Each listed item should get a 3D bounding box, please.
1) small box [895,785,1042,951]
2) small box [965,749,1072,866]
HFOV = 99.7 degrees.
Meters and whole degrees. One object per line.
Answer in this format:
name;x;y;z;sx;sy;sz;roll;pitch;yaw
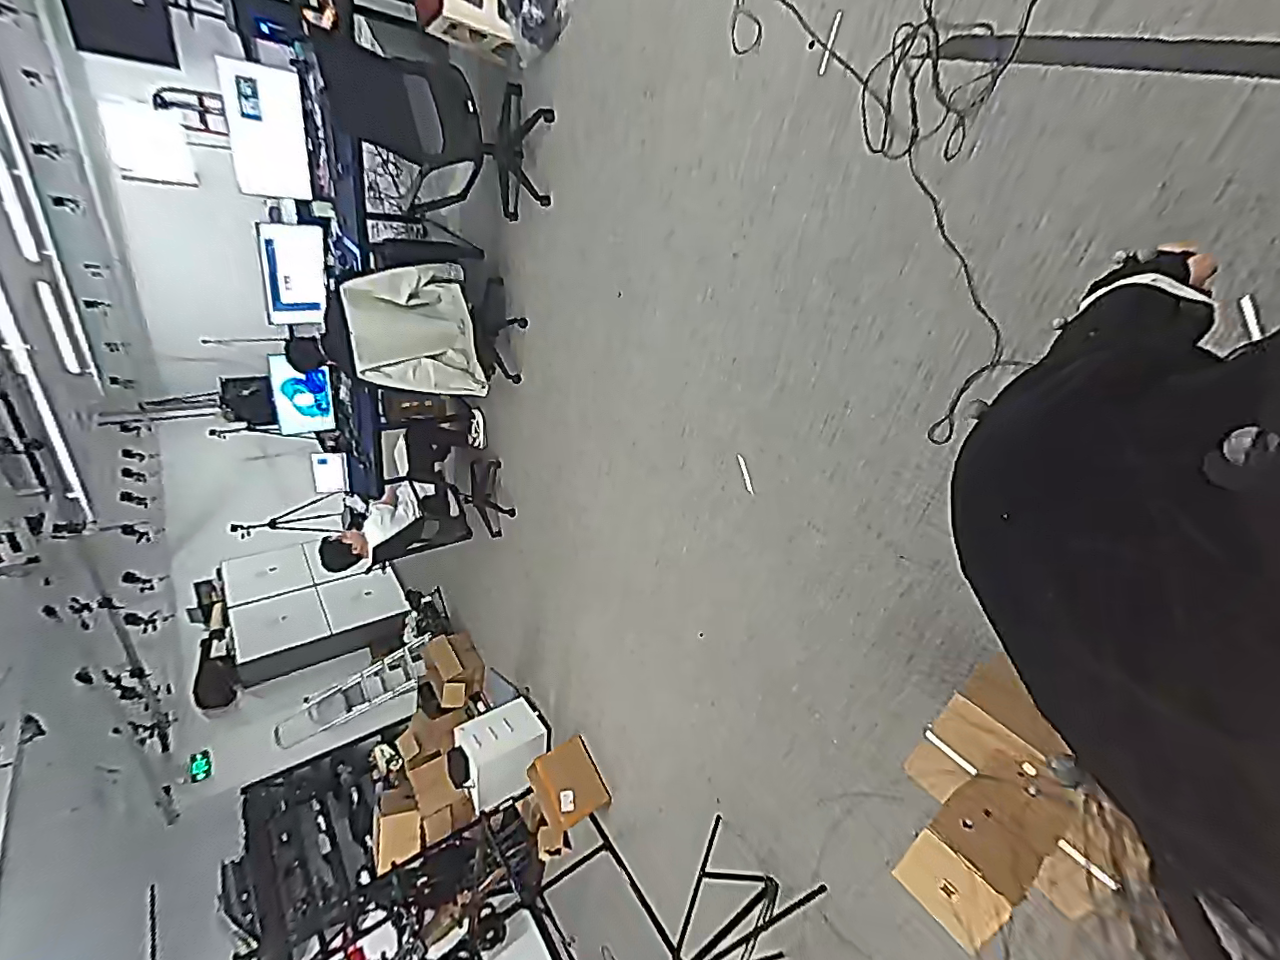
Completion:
small box;0.643;0.744;1.056;0.168;0.176;0.179;38;130;42
small box;0.773;0.722;1.152;0.168;0.176;0.179;38;129;40
